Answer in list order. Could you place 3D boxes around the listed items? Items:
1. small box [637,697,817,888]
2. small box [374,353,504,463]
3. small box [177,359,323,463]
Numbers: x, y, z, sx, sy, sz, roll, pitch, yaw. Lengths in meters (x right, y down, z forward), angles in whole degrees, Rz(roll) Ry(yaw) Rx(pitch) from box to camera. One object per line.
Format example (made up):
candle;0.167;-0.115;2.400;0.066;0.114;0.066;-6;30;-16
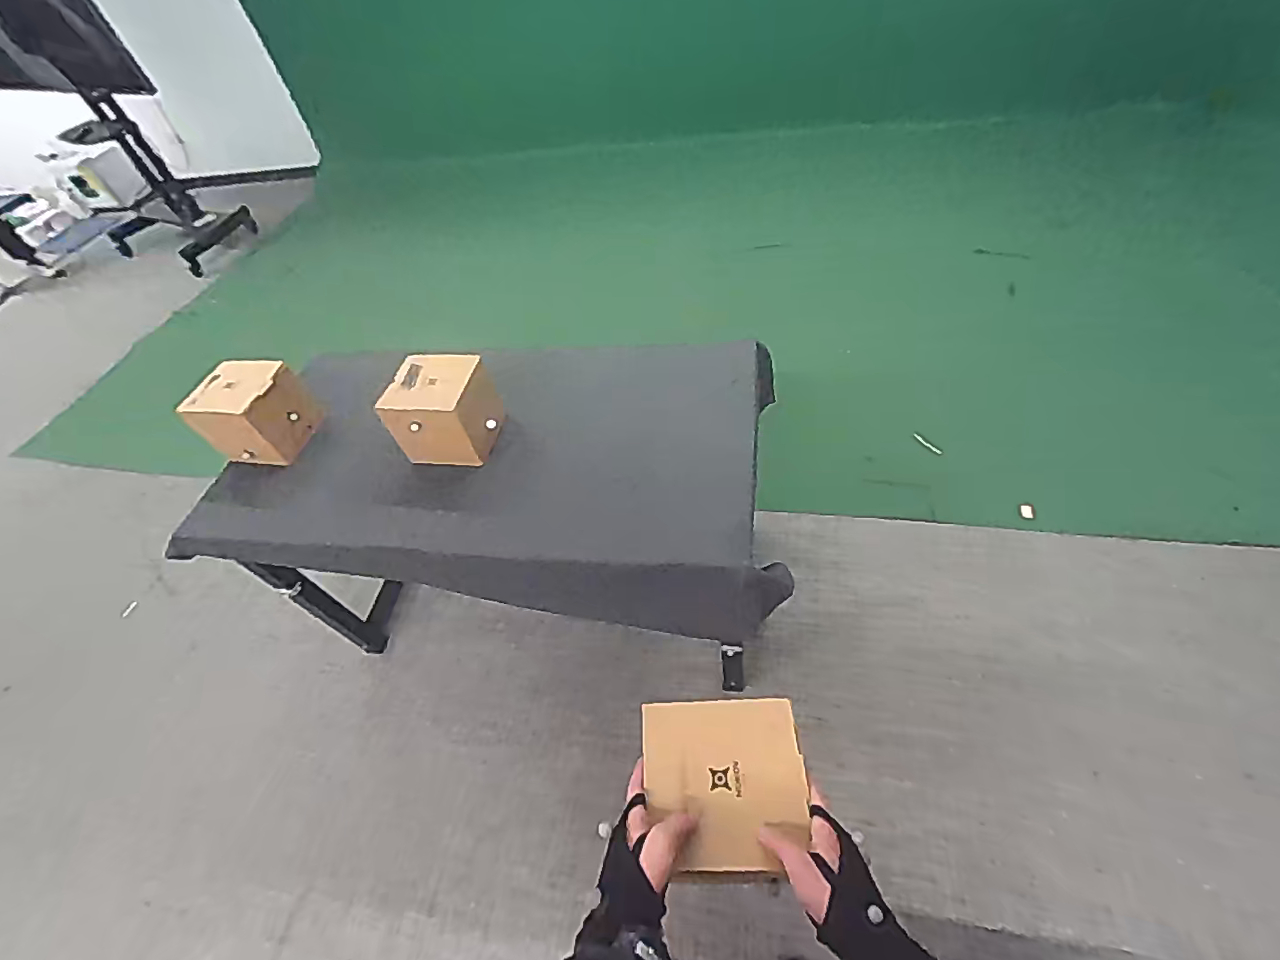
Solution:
small box;0.093;0.370;0.636;0.179;0.176;0.168;-6;48;5
small box;-0.416;-0.151;1.151;0.179;0.176;0.168;3;53;12
small box;-0.876;-0.155;1.237;0.179;0.176;0.168;4;53;12
